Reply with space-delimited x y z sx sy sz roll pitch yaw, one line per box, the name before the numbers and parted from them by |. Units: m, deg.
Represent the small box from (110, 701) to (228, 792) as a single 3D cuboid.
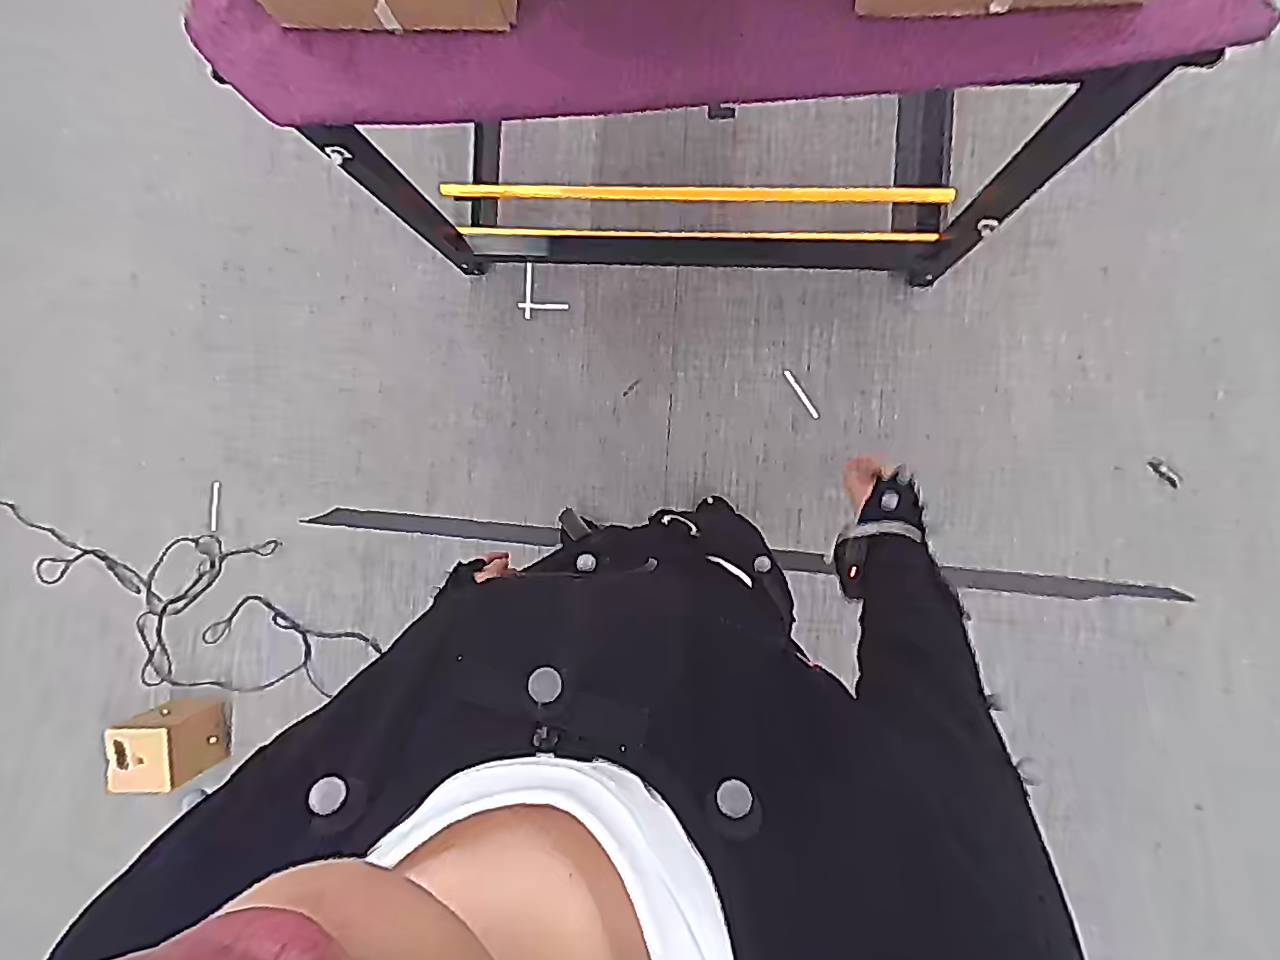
small box | -1.255 0.707 1.450 0.179 0.176 0.168 -3 91 6
